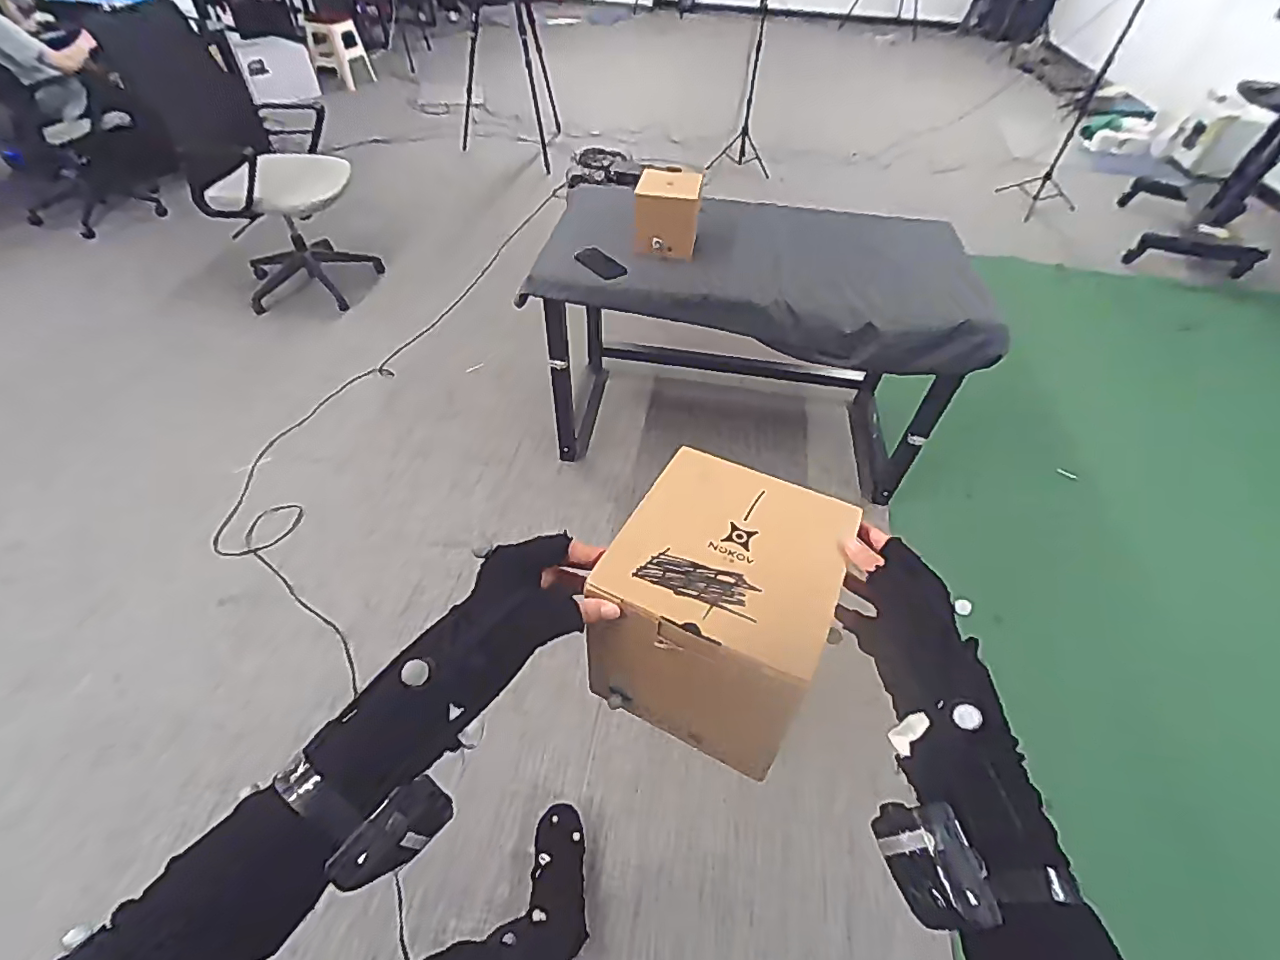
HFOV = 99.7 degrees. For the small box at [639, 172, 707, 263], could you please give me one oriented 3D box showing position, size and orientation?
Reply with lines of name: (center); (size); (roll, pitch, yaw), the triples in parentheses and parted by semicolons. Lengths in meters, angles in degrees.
small box: (0.089, -0.729, 1.502); (0.168, 0.176, 0.179); (8, 50, 5)
